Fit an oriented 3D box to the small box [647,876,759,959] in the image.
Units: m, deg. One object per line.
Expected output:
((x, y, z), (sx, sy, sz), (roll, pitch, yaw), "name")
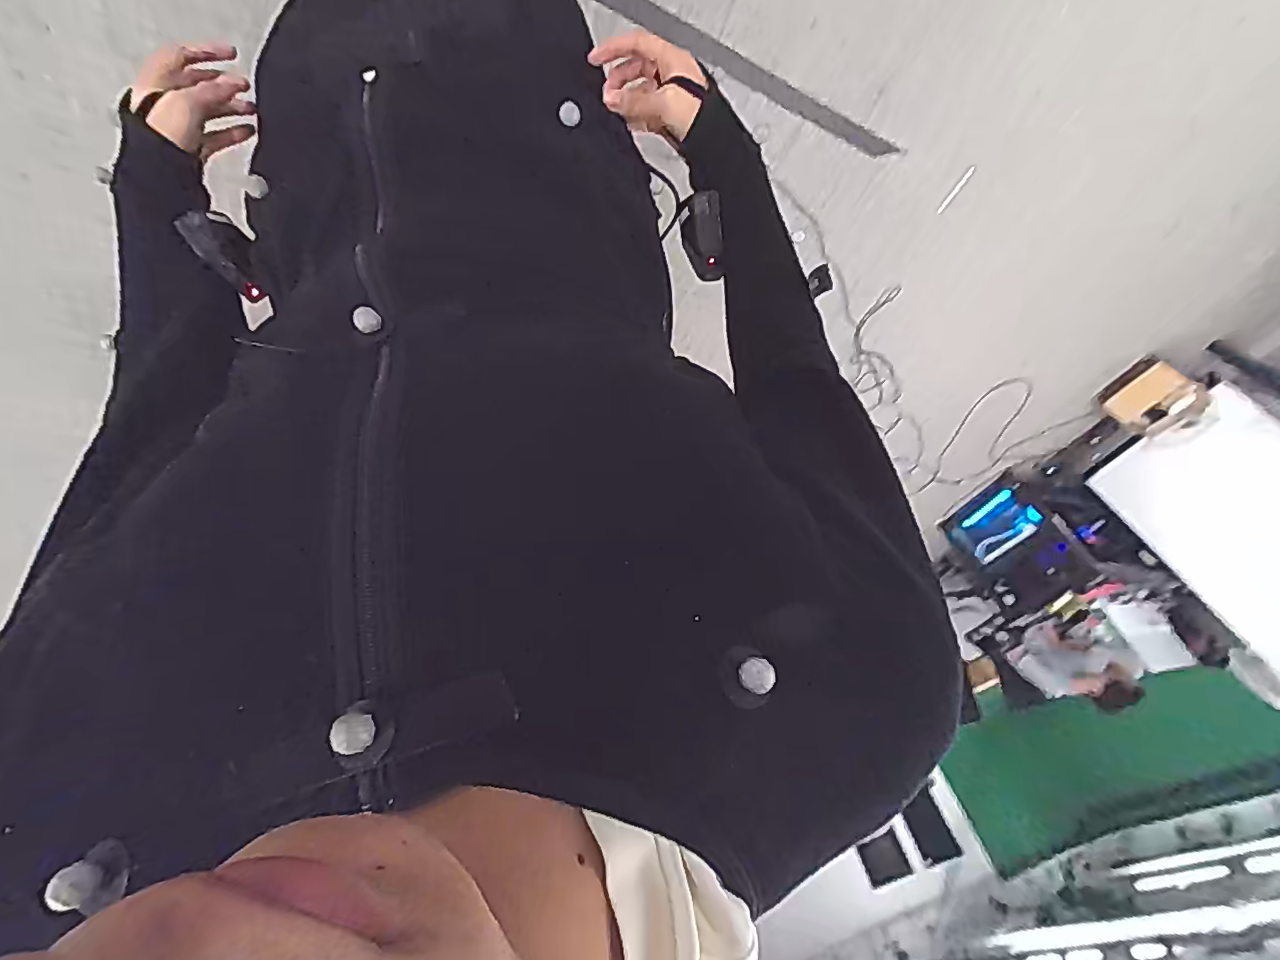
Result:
((0.135, 1.035, 1.232), (0.179, 0.176, 0.168), (4, 137, -25), "small box")
